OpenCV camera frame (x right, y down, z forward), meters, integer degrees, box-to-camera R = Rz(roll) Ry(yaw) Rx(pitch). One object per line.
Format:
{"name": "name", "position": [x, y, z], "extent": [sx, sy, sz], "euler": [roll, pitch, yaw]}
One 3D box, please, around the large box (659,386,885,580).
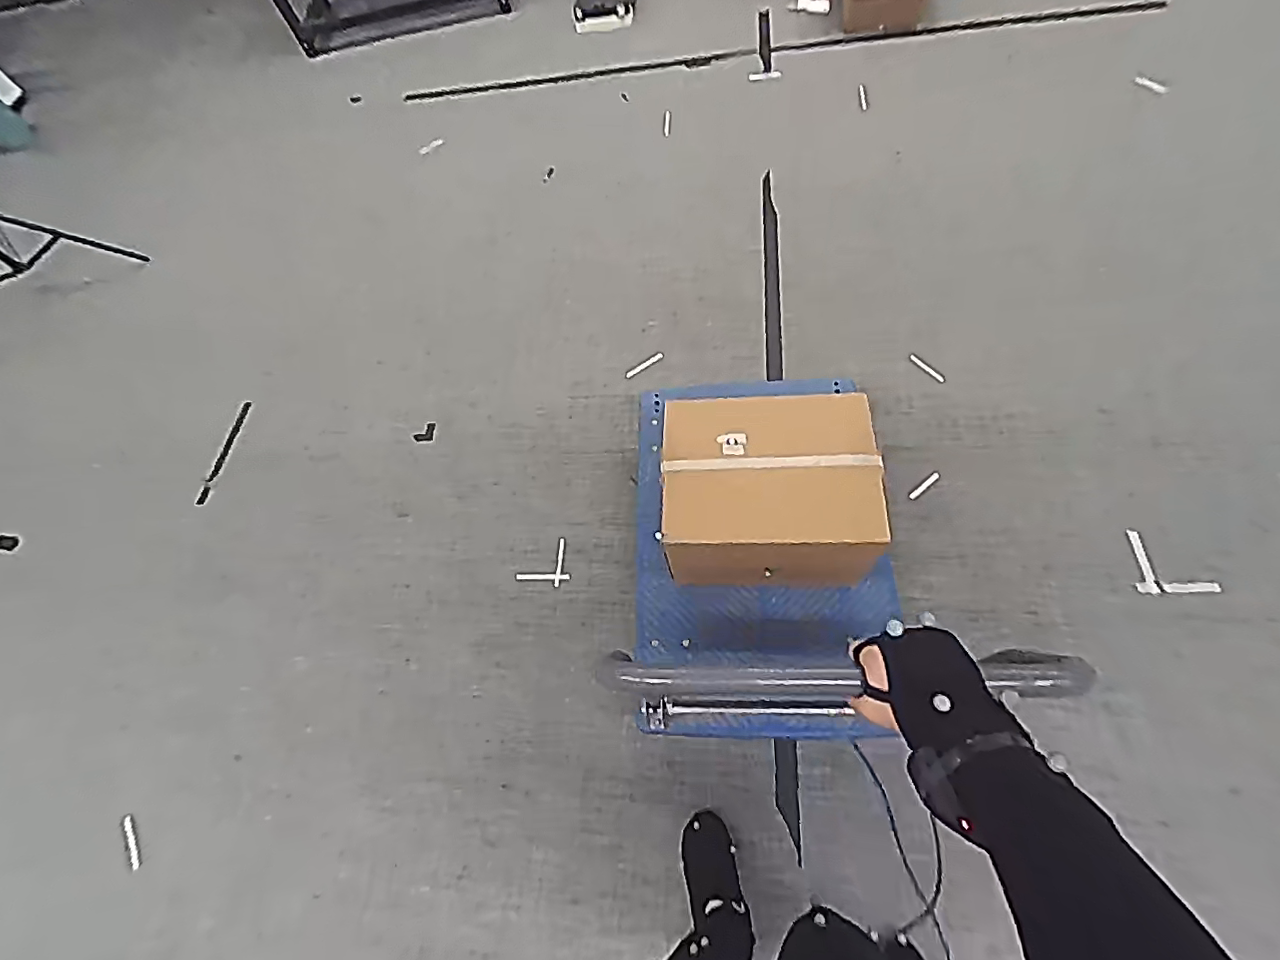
{"name": "large box", "position": [0.259, 0.025, 1.162], "extent": [0.408, 0.320, 0.320], "euler": [-2, 63, 9]}
